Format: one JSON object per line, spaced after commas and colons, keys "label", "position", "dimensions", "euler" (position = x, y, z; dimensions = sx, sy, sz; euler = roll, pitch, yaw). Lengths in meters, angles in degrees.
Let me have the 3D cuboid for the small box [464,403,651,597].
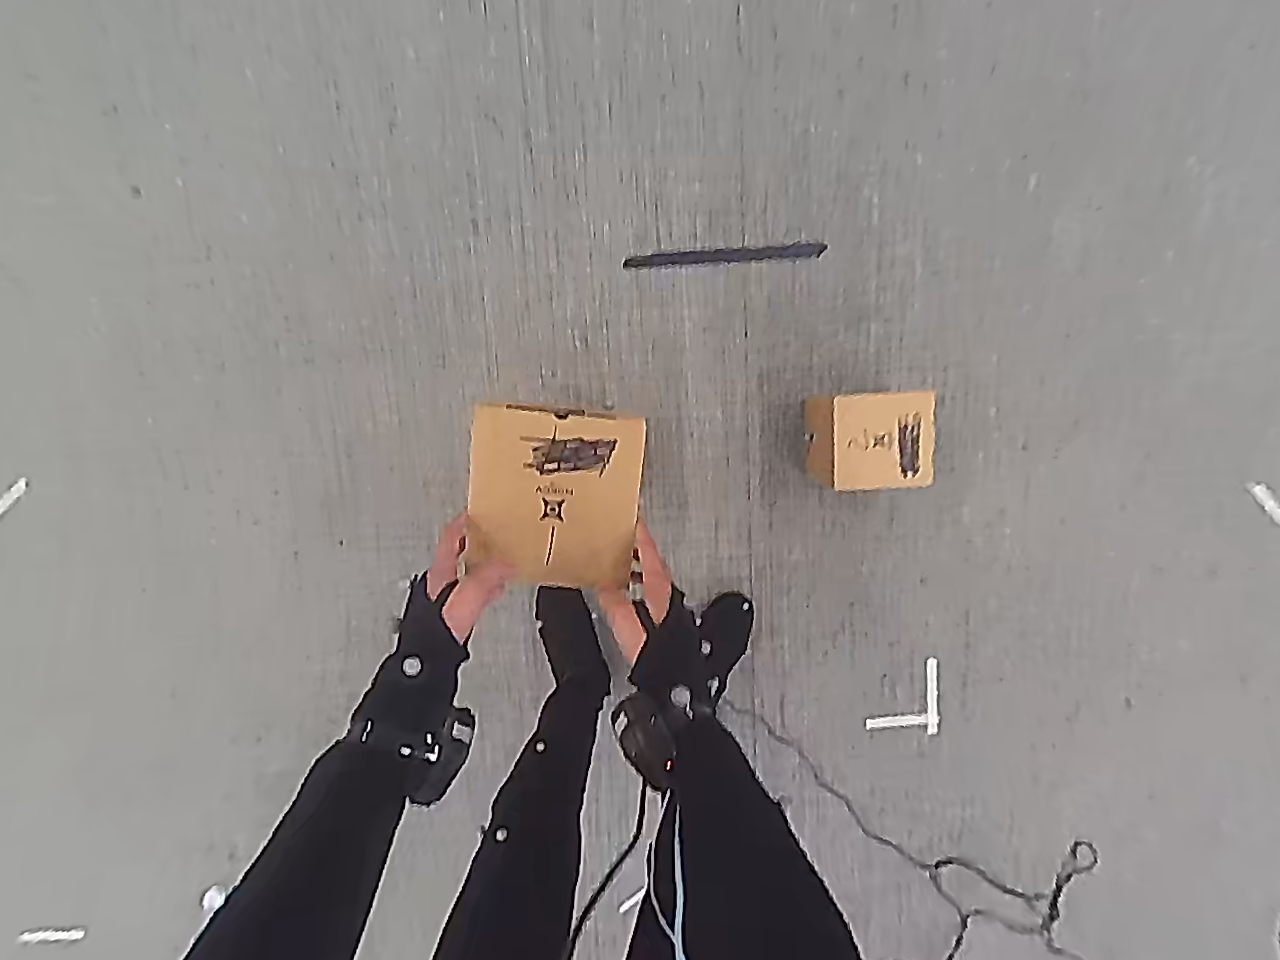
{"label": "small box", "position": [-0.089, 0.011, 0.598], "dimensions": [0.168, 0.176, 0.179], "euler": [6, 100, -6]}
